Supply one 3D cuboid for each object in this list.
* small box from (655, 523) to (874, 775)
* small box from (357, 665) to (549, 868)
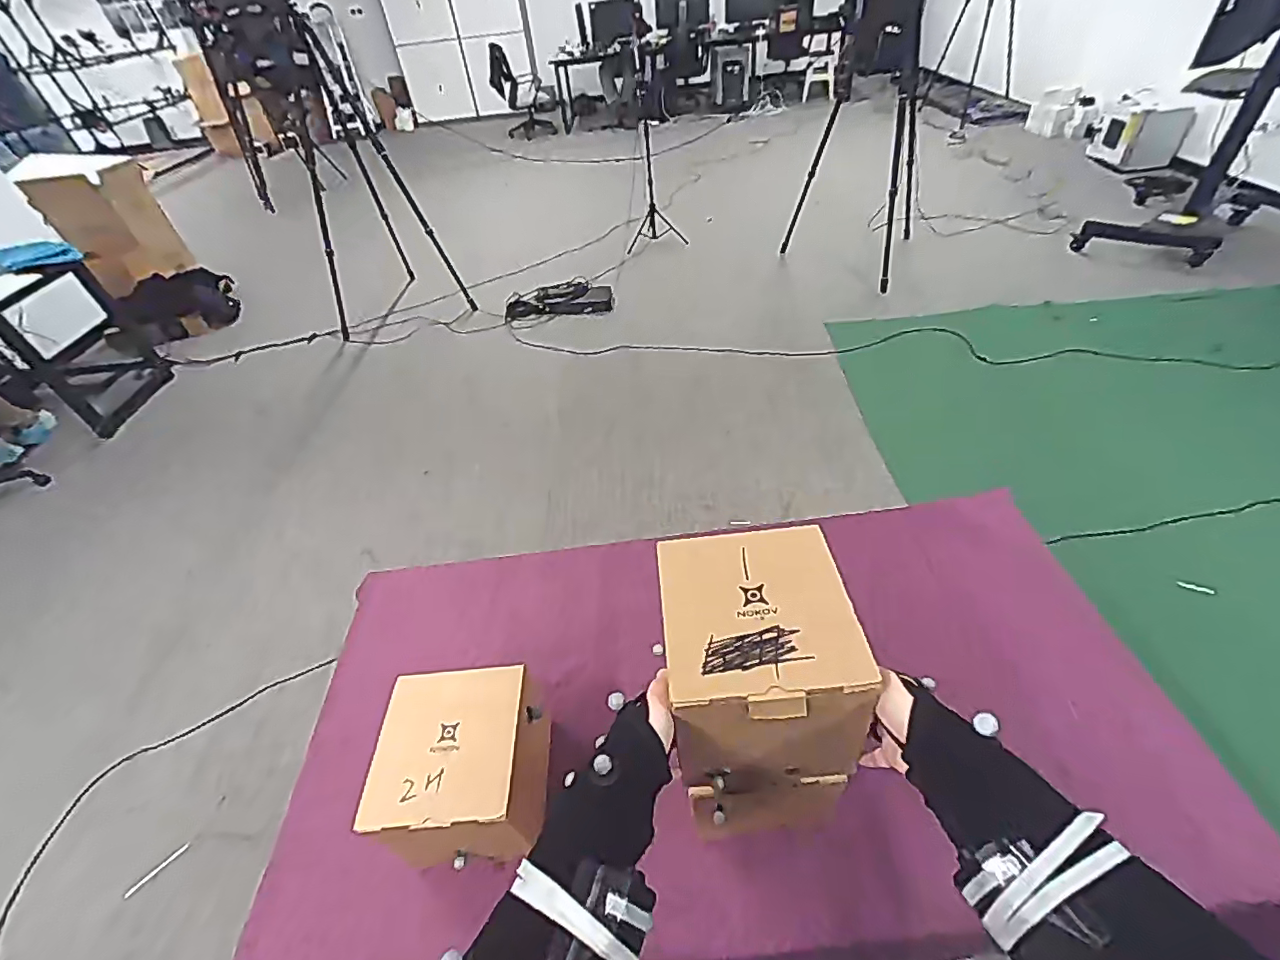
[{"bbox_3d":[0.109,0.169,0.533,0.168,0.176,0.179,-7,39,2],"label":"small box"},{"bbox_3d":[-0.214,0.359,0.679,0.168,0.176,0.179,-6,44,2],"label":"small box"}]
